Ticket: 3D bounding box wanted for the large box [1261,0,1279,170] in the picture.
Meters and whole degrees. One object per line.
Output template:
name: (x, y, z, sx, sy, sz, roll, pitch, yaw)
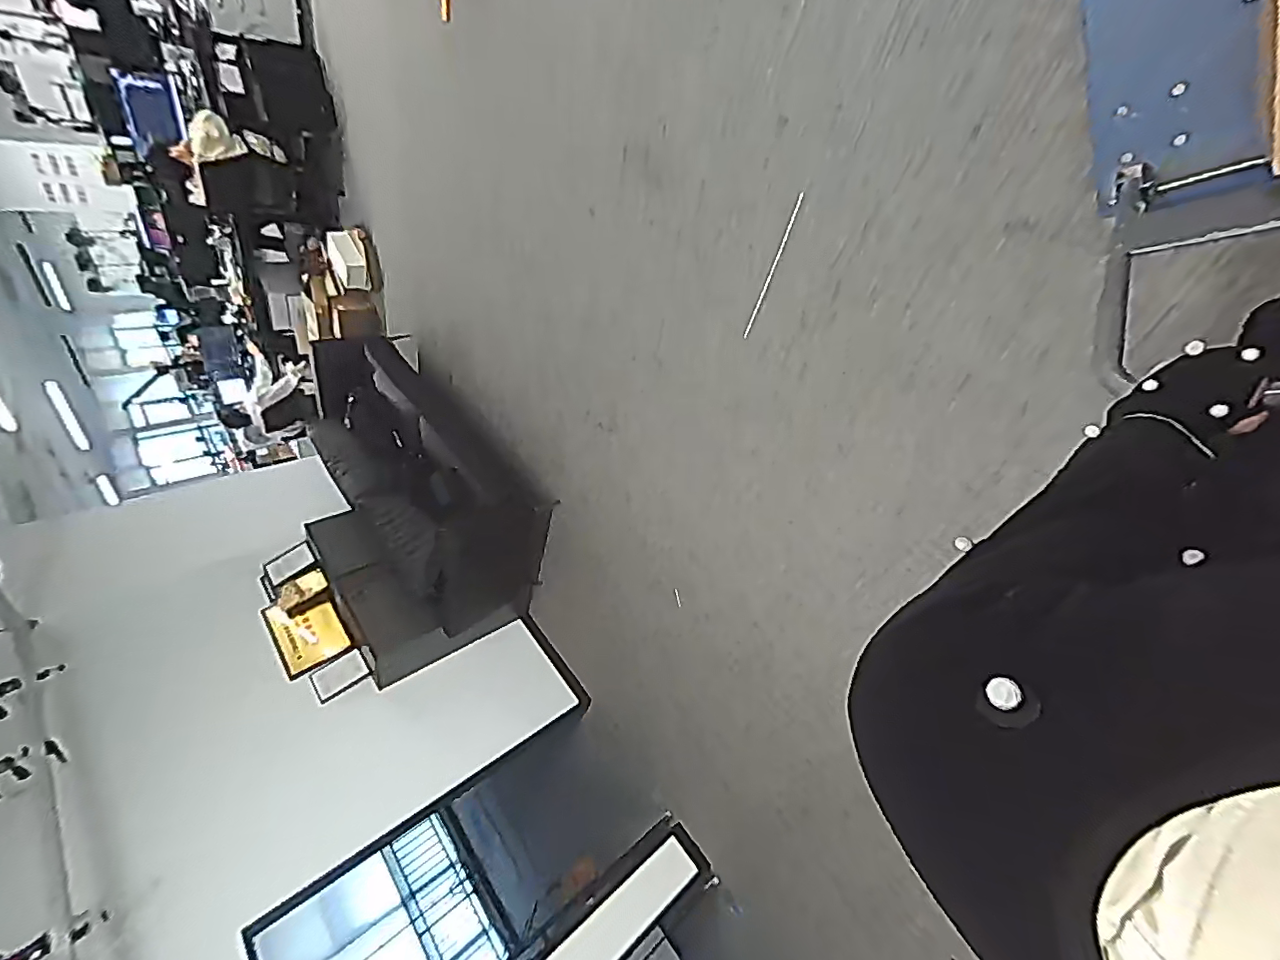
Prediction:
large box: (0.953, -0.655, 0.620, 0.320, 0.320, 0.408, -2, 124, 46)
